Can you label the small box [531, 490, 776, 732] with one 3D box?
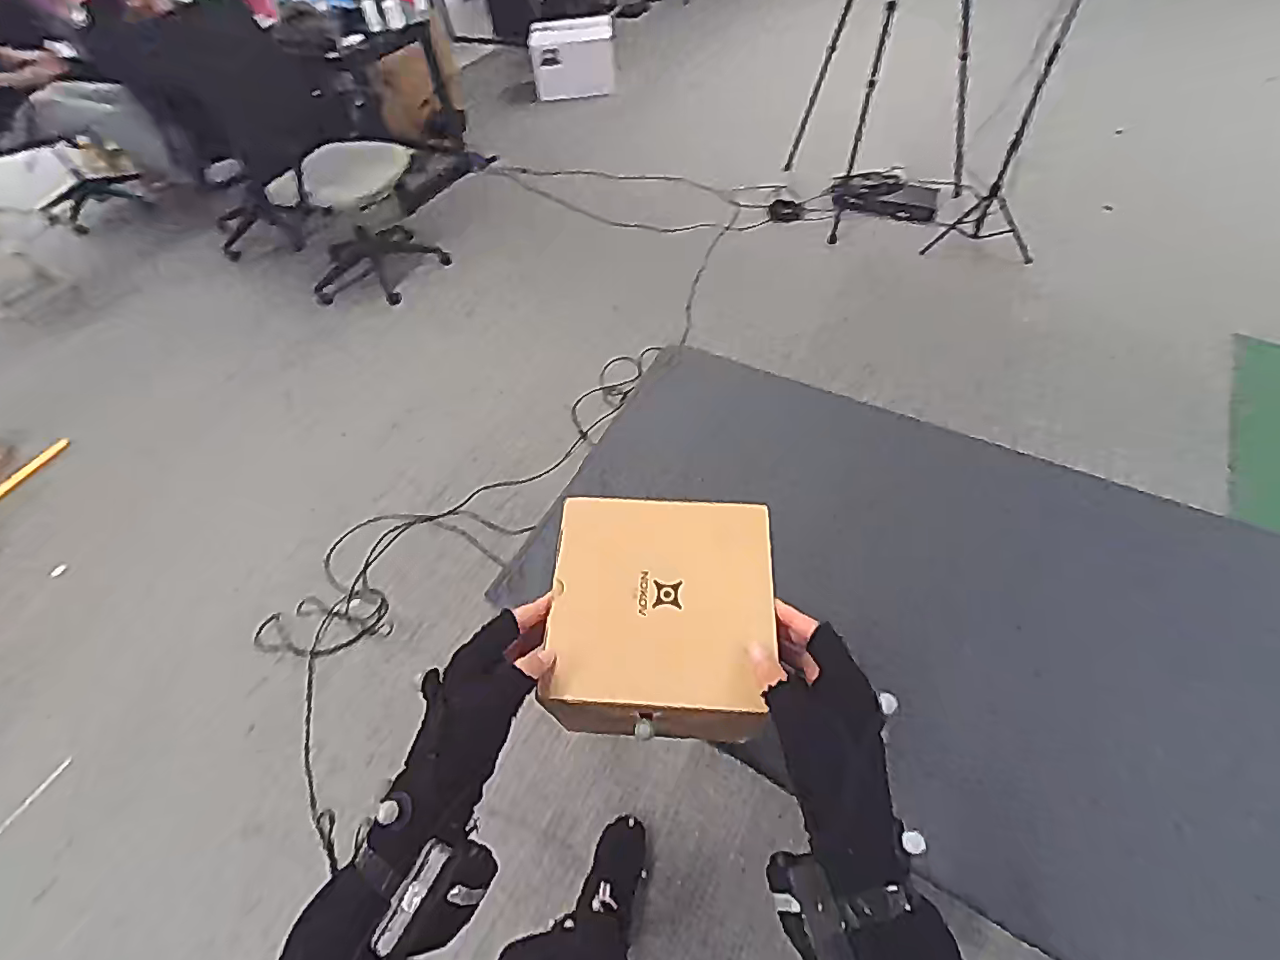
[{"bbox_3d":[0.016,0.125,0.489,0.179,0.176,0.168,2,58,4],"label":"small box"}]
